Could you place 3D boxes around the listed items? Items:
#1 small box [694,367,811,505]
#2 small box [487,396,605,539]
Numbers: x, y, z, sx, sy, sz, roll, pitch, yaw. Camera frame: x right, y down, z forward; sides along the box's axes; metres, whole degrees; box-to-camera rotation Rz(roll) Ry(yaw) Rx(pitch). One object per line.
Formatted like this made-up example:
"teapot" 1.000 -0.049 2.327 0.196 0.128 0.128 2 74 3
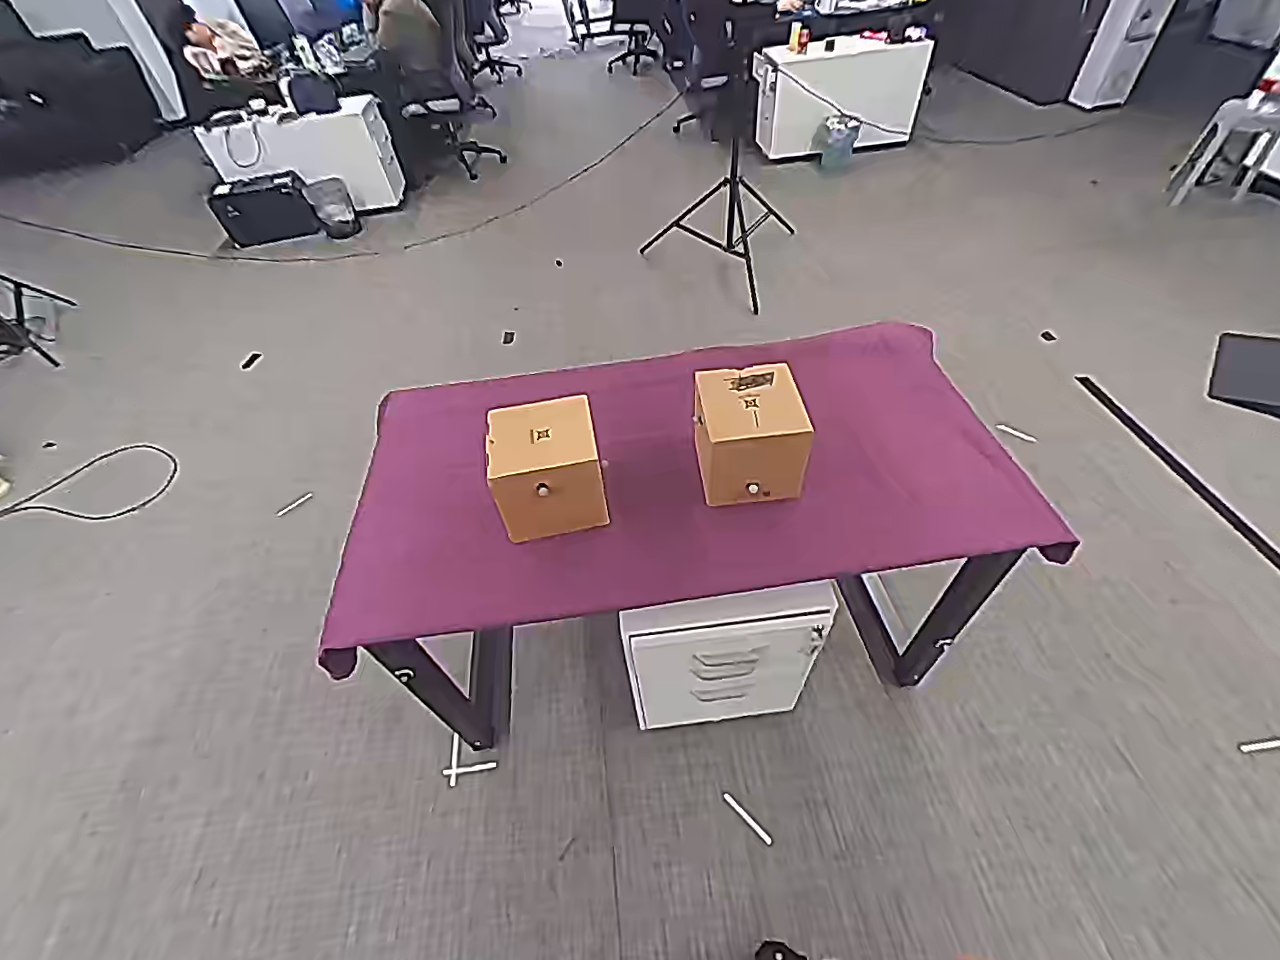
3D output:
"small box" 0.188 -0.077 0.964 0.168 0.176 0.179 -6 49 1
"small box" -0.159 -0.019 0.947 0.179 0.176 0.168 -11 48 -3
